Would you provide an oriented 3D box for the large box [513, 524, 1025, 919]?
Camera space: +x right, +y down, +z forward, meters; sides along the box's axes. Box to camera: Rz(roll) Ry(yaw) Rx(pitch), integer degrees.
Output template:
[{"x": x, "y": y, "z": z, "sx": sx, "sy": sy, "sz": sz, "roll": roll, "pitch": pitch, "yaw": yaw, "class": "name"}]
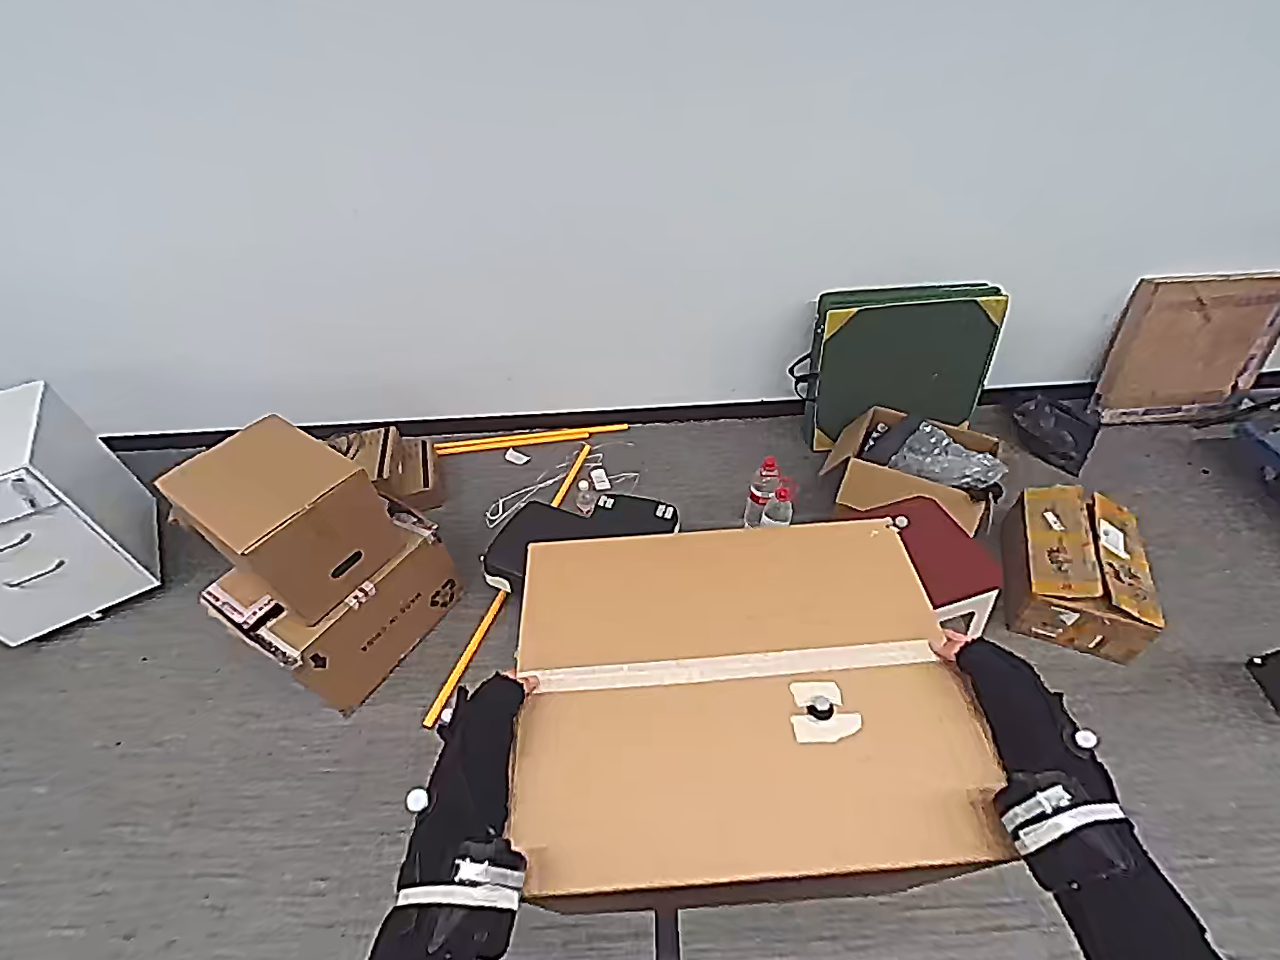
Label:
[{"x": 0.093, "y": 0.278, "z": 0.617, "sx": 0.408, "sy": 0.320, "sz": 0.320, "roll": -4, "pitch": 49, "yaw": -1, "class": "large box"}]
